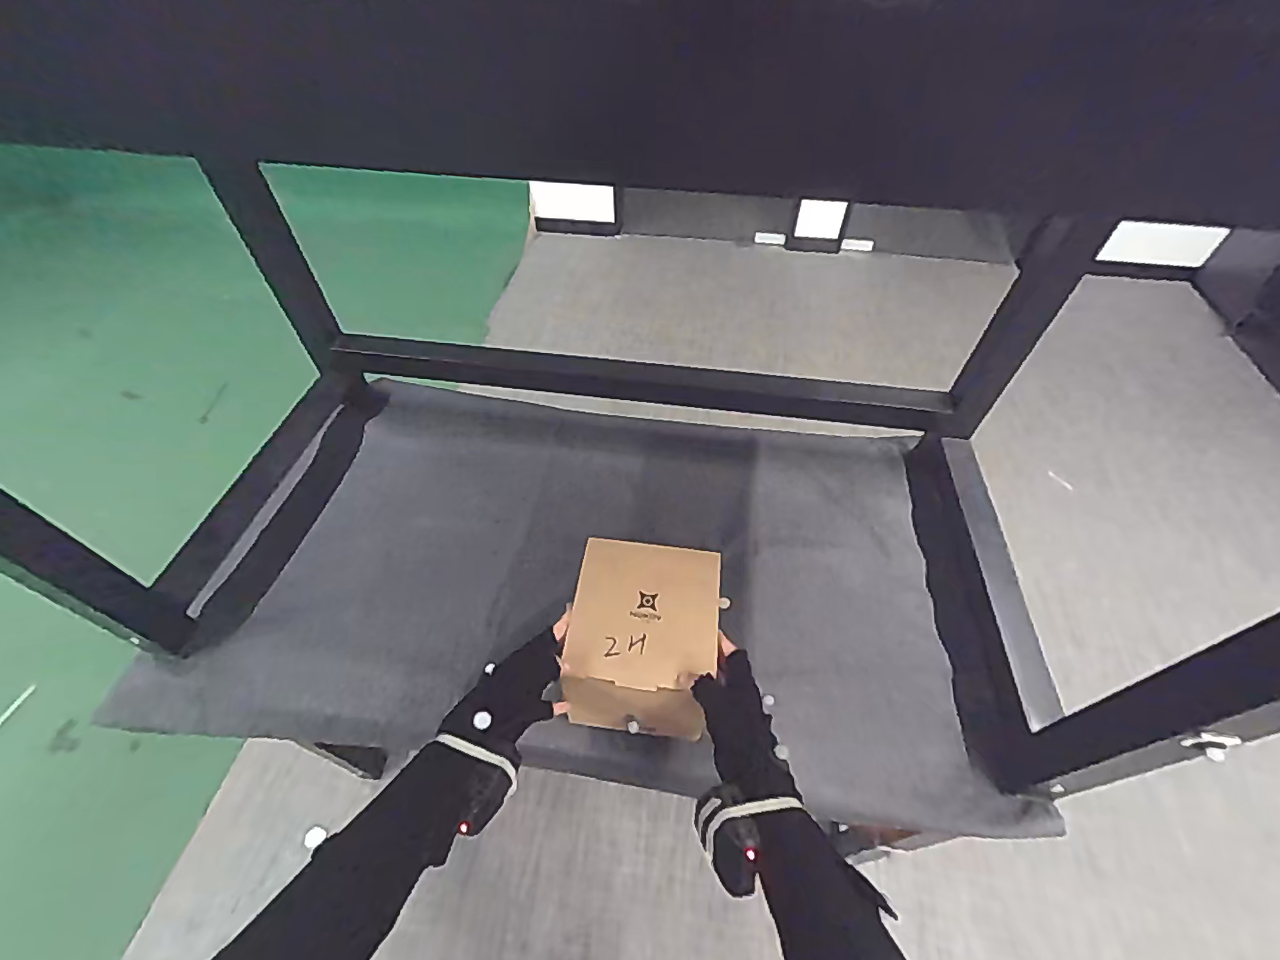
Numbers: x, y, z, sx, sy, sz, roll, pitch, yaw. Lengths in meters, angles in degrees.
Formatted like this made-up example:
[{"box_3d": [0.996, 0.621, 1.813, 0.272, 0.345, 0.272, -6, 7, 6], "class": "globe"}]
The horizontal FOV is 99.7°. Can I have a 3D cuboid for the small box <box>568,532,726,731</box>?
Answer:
[{"box_3d": [0.012, 0.191, 0.680, 0.168, 0.176, 0.179, 6, 50, 4], "class": "small box"}]
